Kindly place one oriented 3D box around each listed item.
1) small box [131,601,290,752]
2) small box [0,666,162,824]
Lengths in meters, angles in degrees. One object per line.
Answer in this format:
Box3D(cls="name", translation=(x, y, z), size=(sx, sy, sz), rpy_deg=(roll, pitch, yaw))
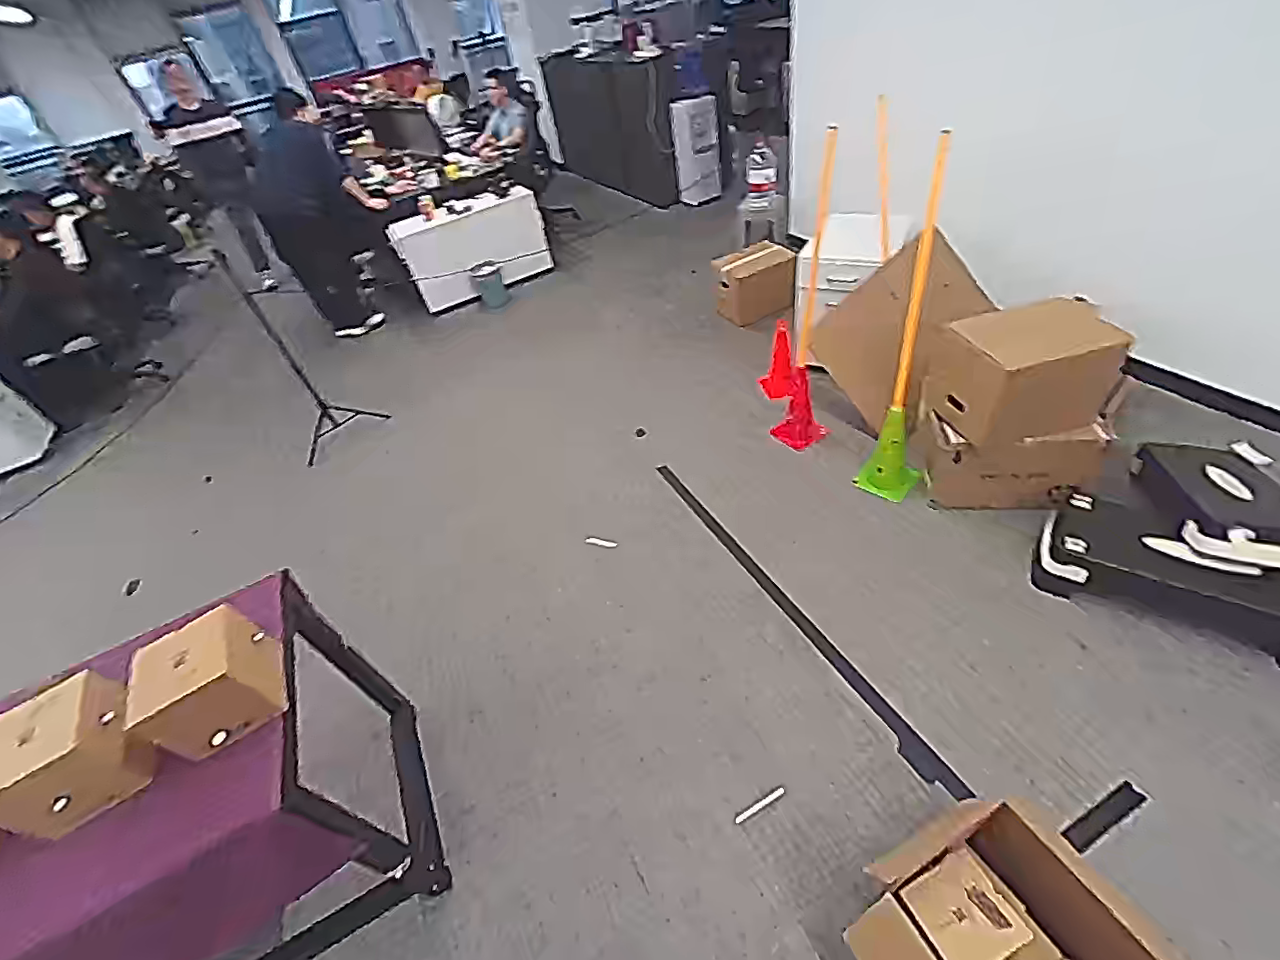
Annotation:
Box3D(cls="small box", translation=(-0.801, 0.374, 1.027), size=(0.168, 0.176, 0.179), rpy_deg=(-31, 45, -15))
Box3D(cls="small box", translation=(-1.008, 0.480, 0.970), size=(0.168, 0.176, 0.179), rpy_deg=(-31, 45, -17))
